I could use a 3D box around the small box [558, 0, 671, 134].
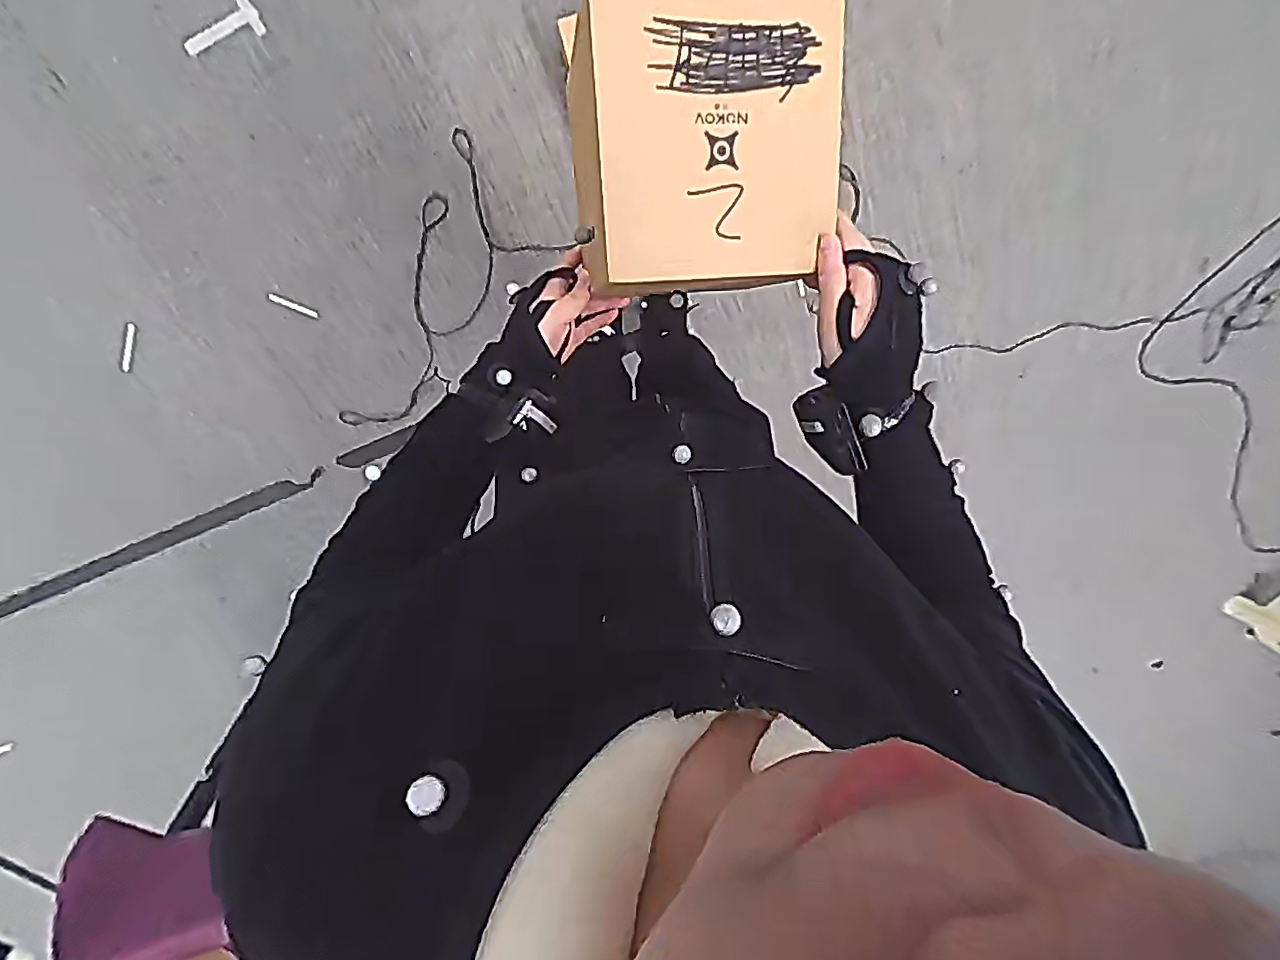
[{"bbox_3d":[-0.052,-0.809,1.070,0.179,0.176,0.168,-17,117,1],"label":"small box"}]
